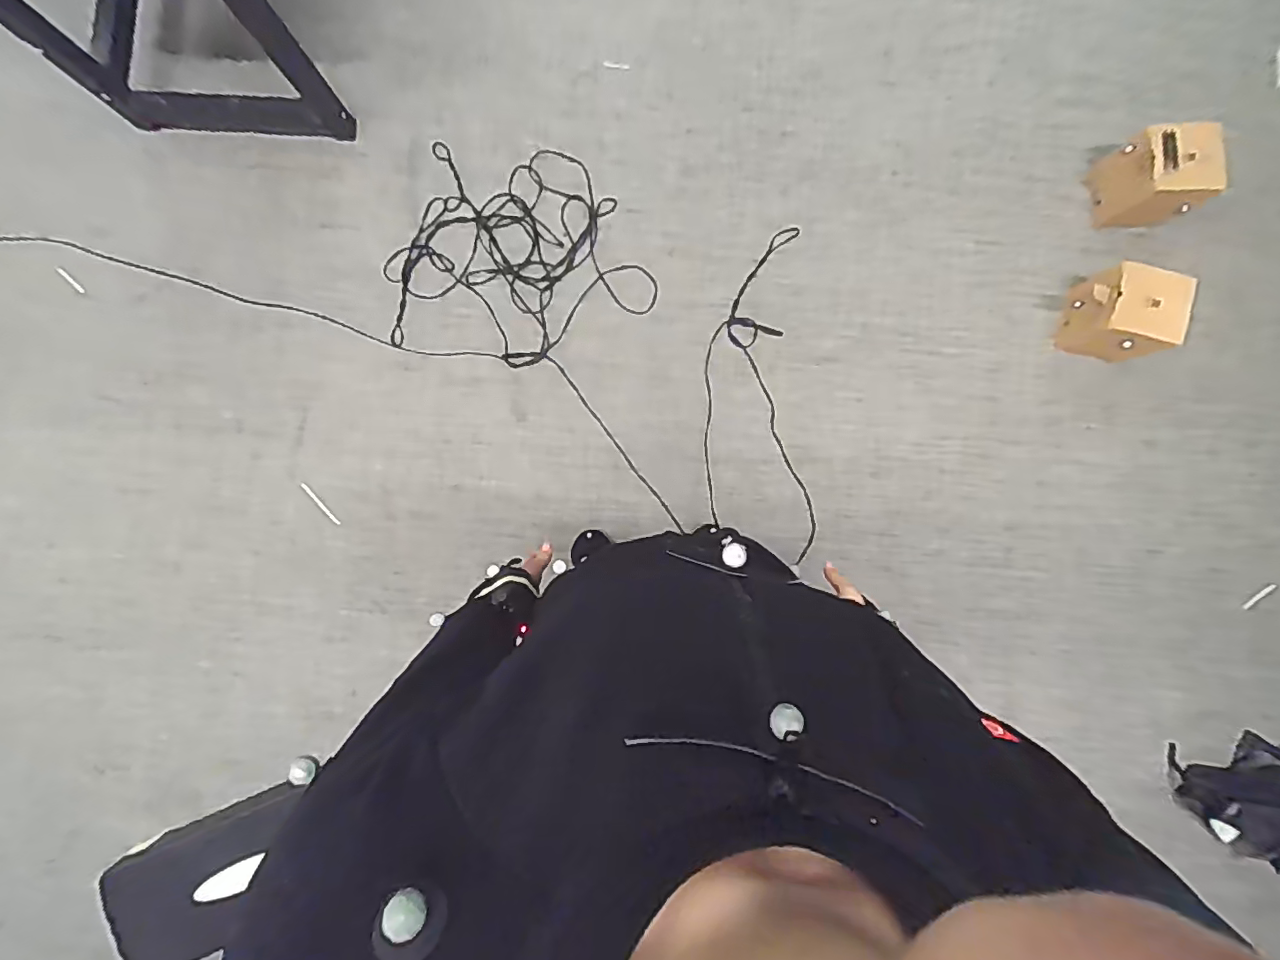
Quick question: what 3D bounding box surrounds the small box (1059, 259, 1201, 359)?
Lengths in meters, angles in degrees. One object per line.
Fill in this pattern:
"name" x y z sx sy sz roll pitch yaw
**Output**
"small box" 1.185 -0.407 1.319 0.179 0.176 0.168 14 88 1
